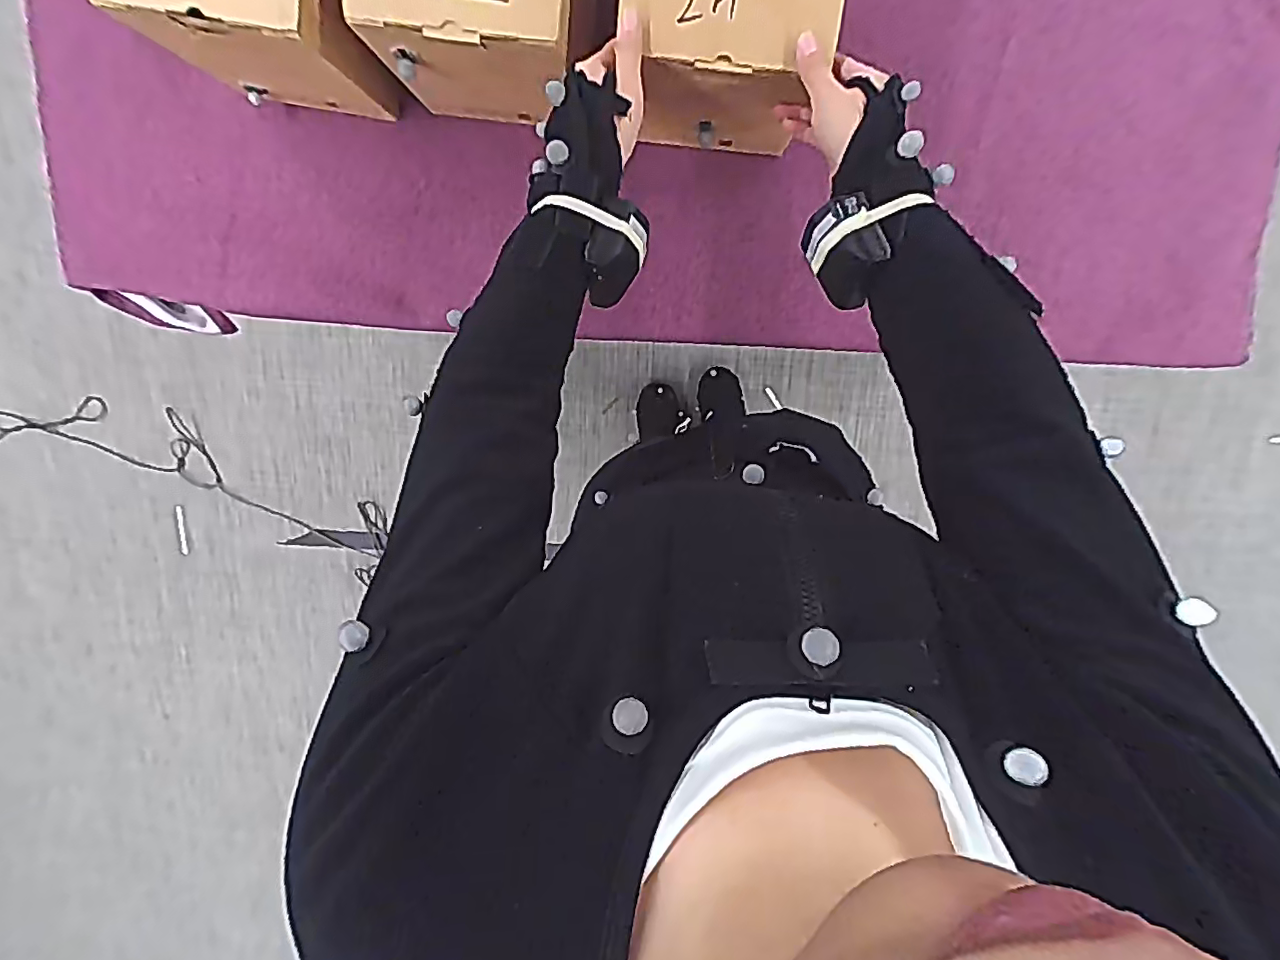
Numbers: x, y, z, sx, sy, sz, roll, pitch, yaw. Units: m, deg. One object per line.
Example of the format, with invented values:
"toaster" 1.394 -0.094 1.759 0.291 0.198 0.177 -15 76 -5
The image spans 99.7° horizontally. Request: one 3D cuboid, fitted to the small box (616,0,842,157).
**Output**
"small box" 0.072 -0.410 0.465 0.168 0.176 0.179 6 103 0
